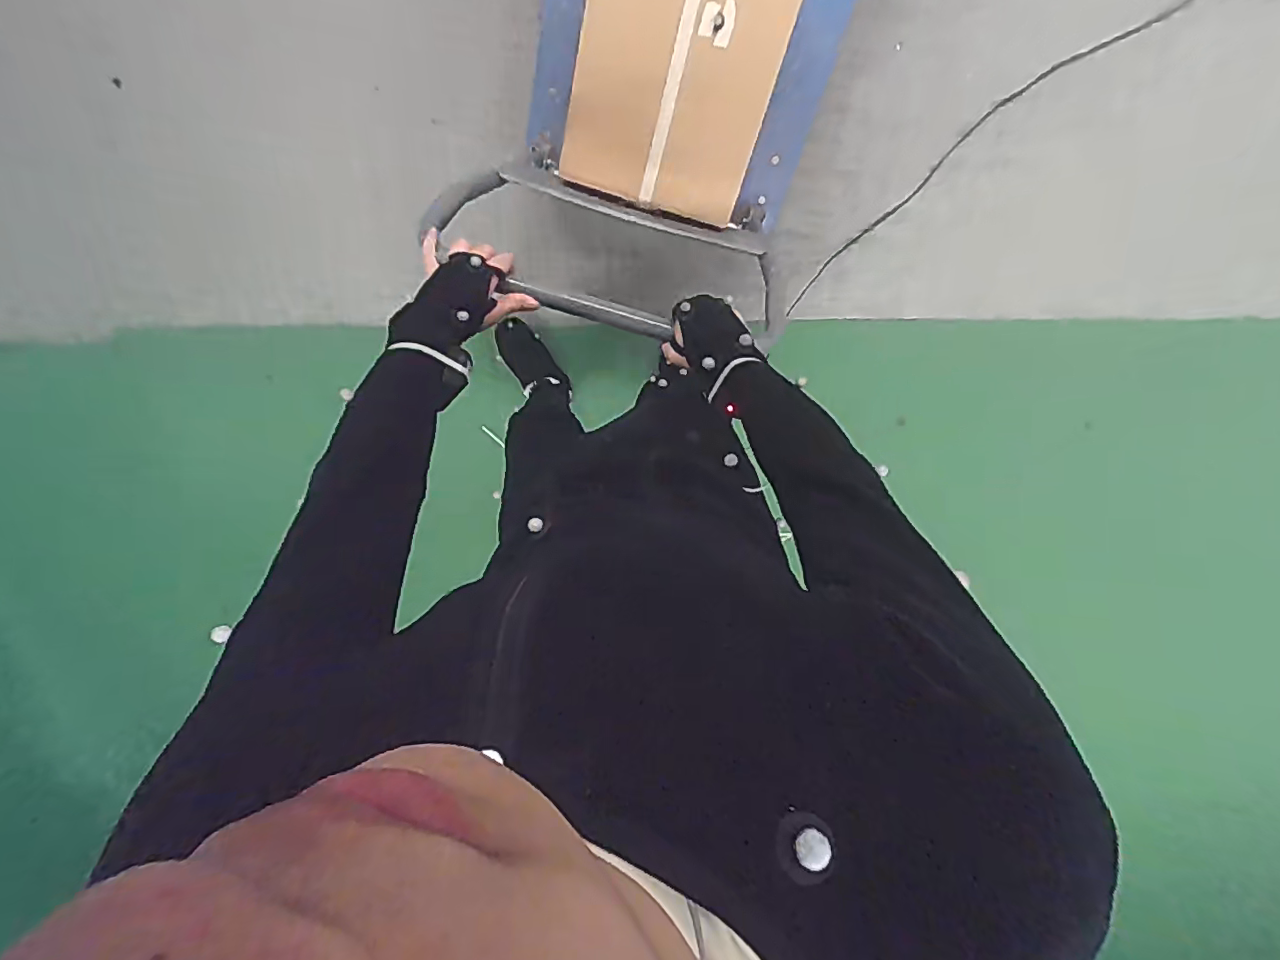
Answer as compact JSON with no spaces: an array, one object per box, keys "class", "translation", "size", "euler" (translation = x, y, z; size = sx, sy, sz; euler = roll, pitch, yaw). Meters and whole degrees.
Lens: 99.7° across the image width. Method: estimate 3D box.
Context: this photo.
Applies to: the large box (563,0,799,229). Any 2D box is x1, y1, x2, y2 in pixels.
[{"class":"large box","translation":[0.073,-0.731,0.997],"size":[0.320,0.320,0.408],"euler":[16,122,-4]}]
